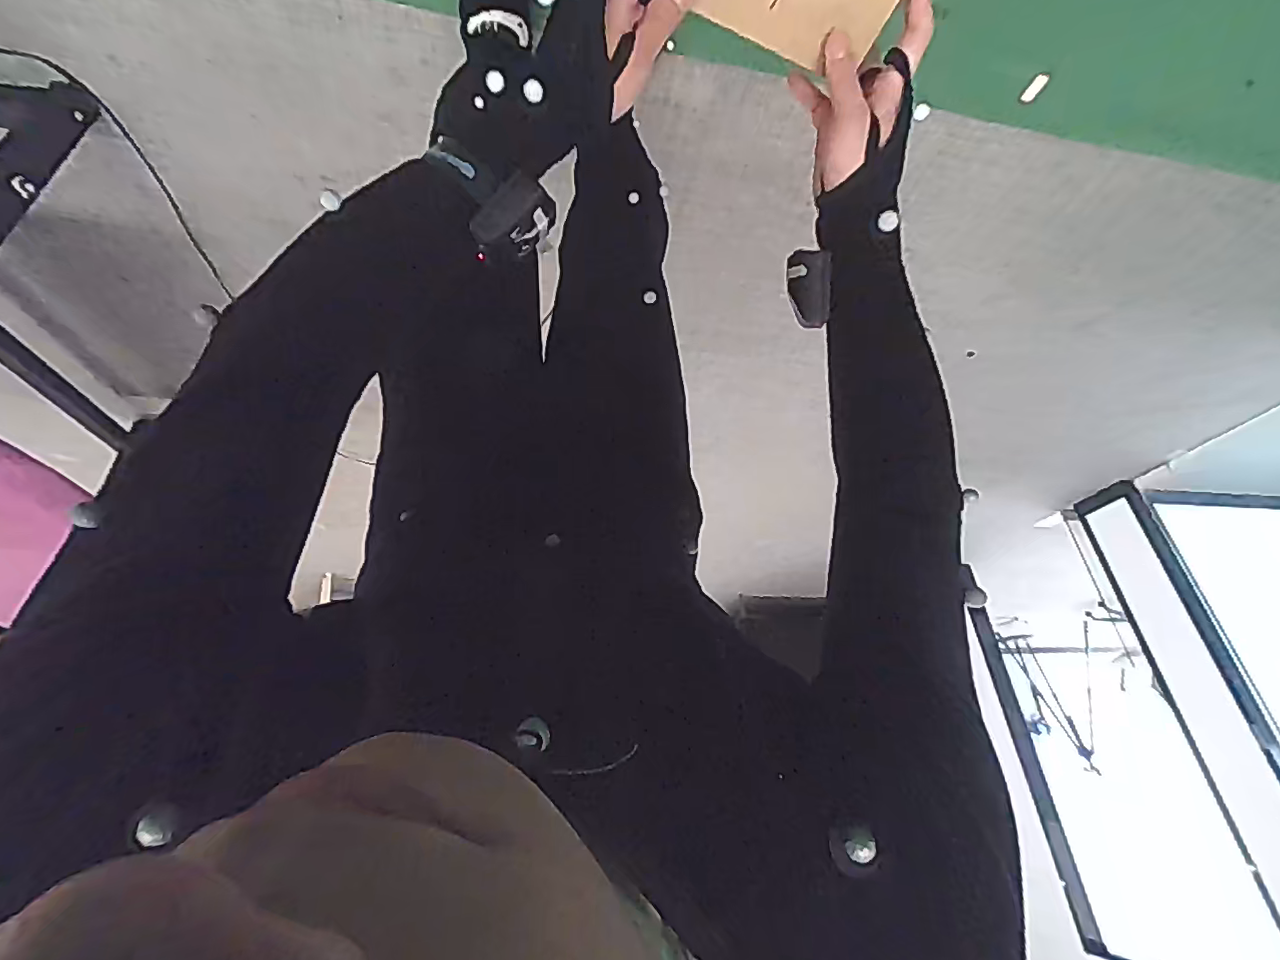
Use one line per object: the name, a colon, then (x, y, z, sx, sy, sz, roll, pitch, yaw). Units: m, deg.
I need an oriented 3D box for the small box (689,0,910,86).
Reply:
small box: (0.122, -0.439, 0.383, 0.168, 0.176, 0.179, 9, 144, -21)
